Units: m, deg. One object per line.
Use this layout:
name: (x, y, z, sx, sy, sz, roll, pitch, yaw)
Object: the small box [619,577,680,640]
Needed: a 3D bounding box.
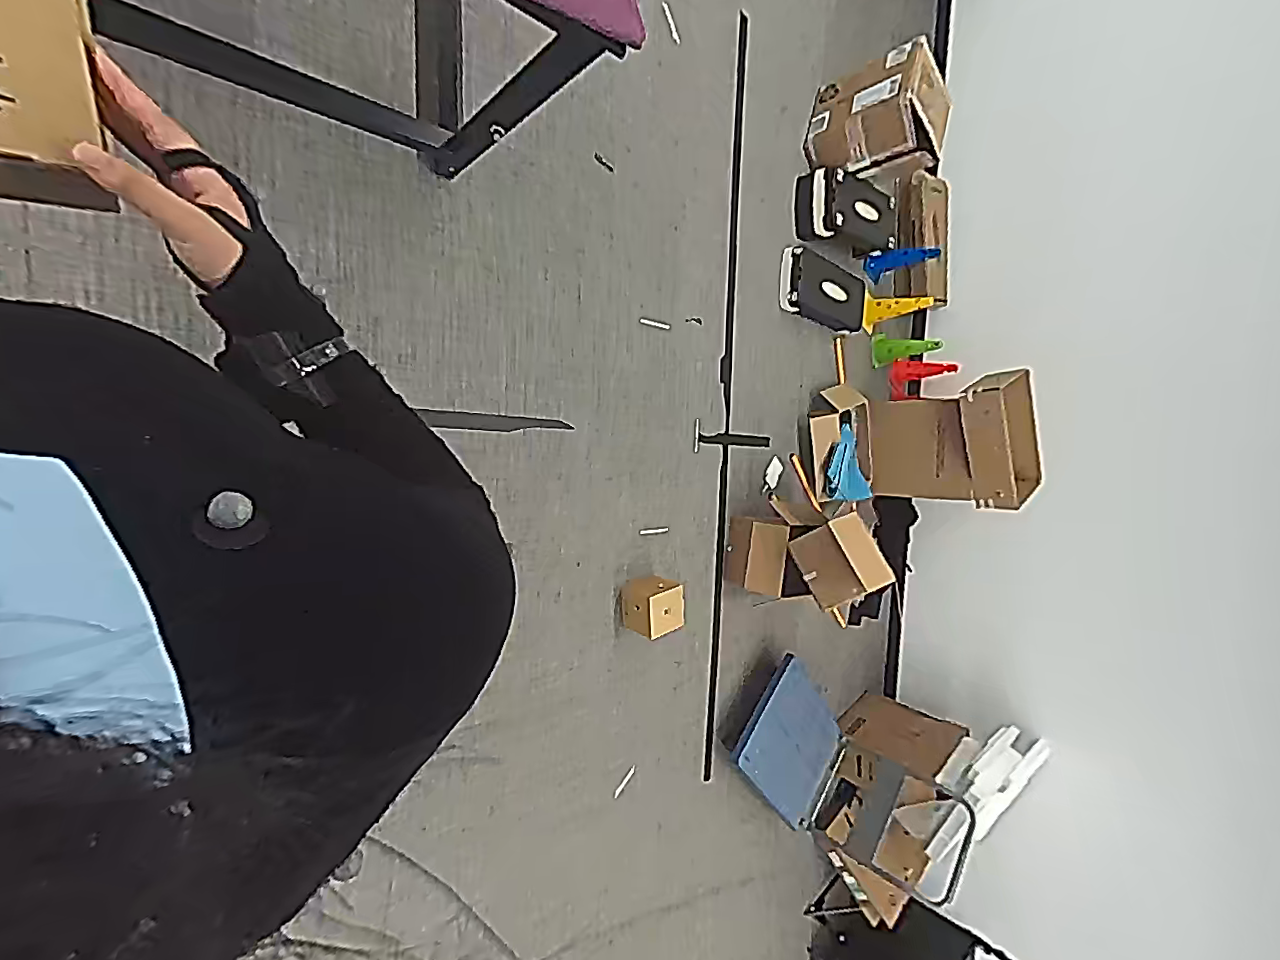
small box: (0.031, 0.483, 2.058, 0.179, 0.176, 0.168, -11, 102, -42)
